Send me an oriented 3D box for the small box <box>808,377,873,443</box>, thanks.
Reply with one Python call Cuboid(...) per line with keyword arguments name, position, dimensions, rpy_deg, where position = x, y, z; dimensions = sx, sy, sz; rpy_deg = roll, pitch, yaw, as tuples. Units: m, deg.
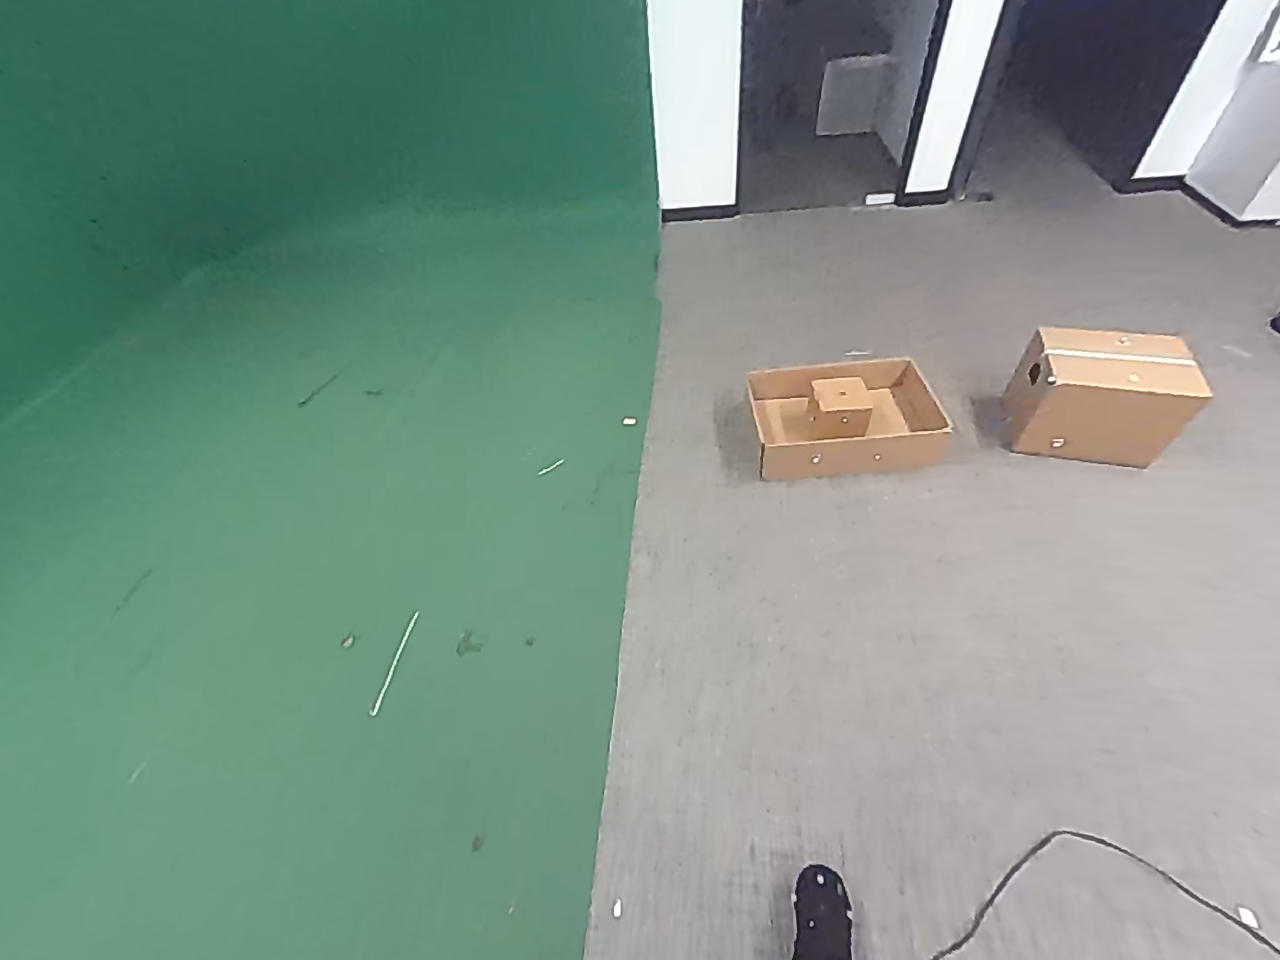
Cuboid(name="small box", position=(0.703, -0.246, 1.922), dimensions=(0.179, 0.176, 0.168), rpy_deg=(-3, 49, 3))
